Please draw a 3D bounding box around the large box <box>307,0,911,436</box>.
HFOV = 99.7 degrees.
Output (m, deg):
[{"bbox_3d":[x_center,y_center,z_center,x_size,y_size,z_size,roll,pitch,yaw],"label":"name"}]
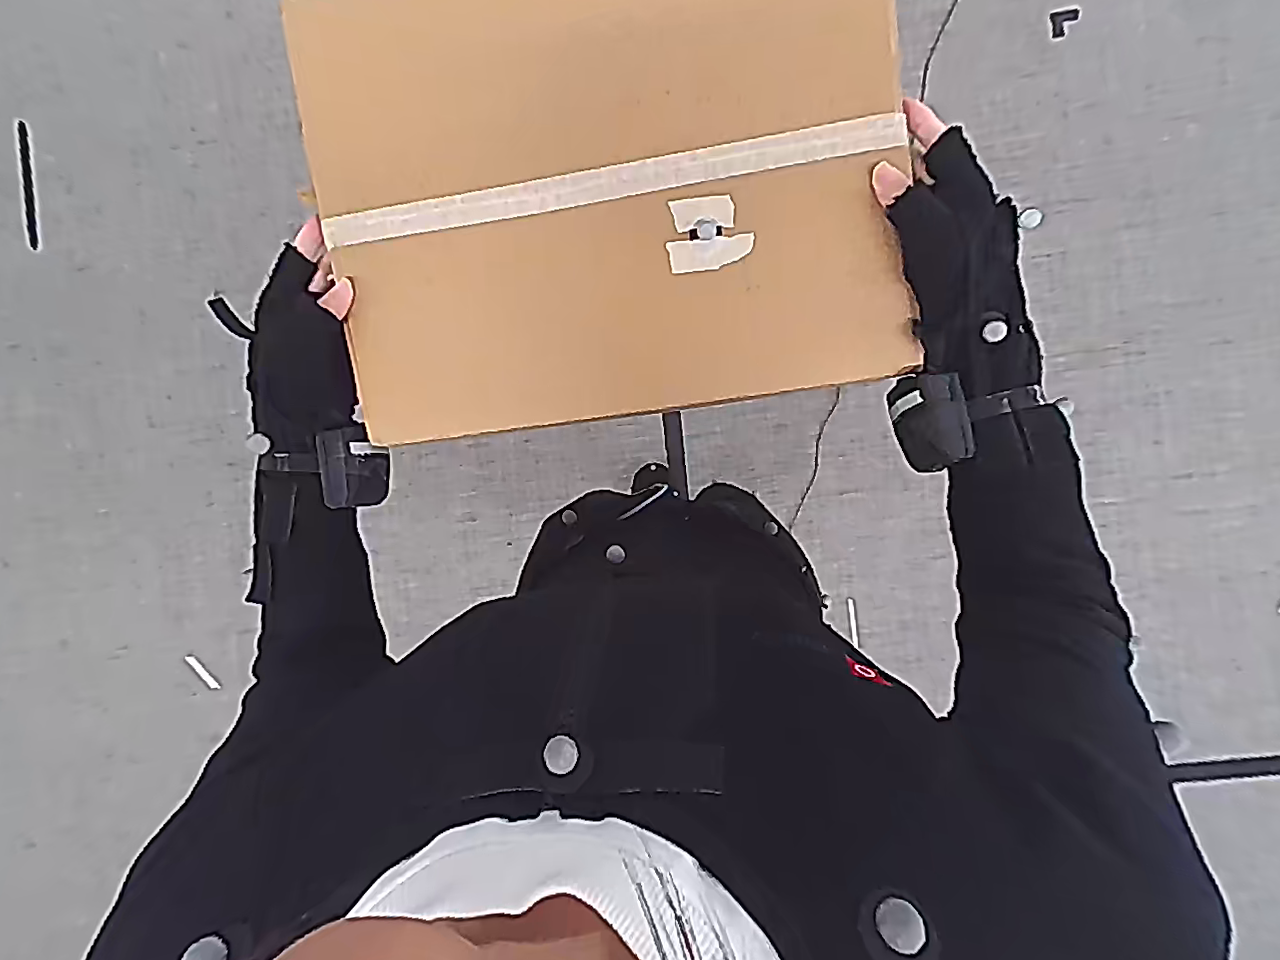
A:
[{"bbox_3d":[-0.015,-0.230,0.534,0.408,0.320,0.320,-8,98,4],"label":"large box"}]
